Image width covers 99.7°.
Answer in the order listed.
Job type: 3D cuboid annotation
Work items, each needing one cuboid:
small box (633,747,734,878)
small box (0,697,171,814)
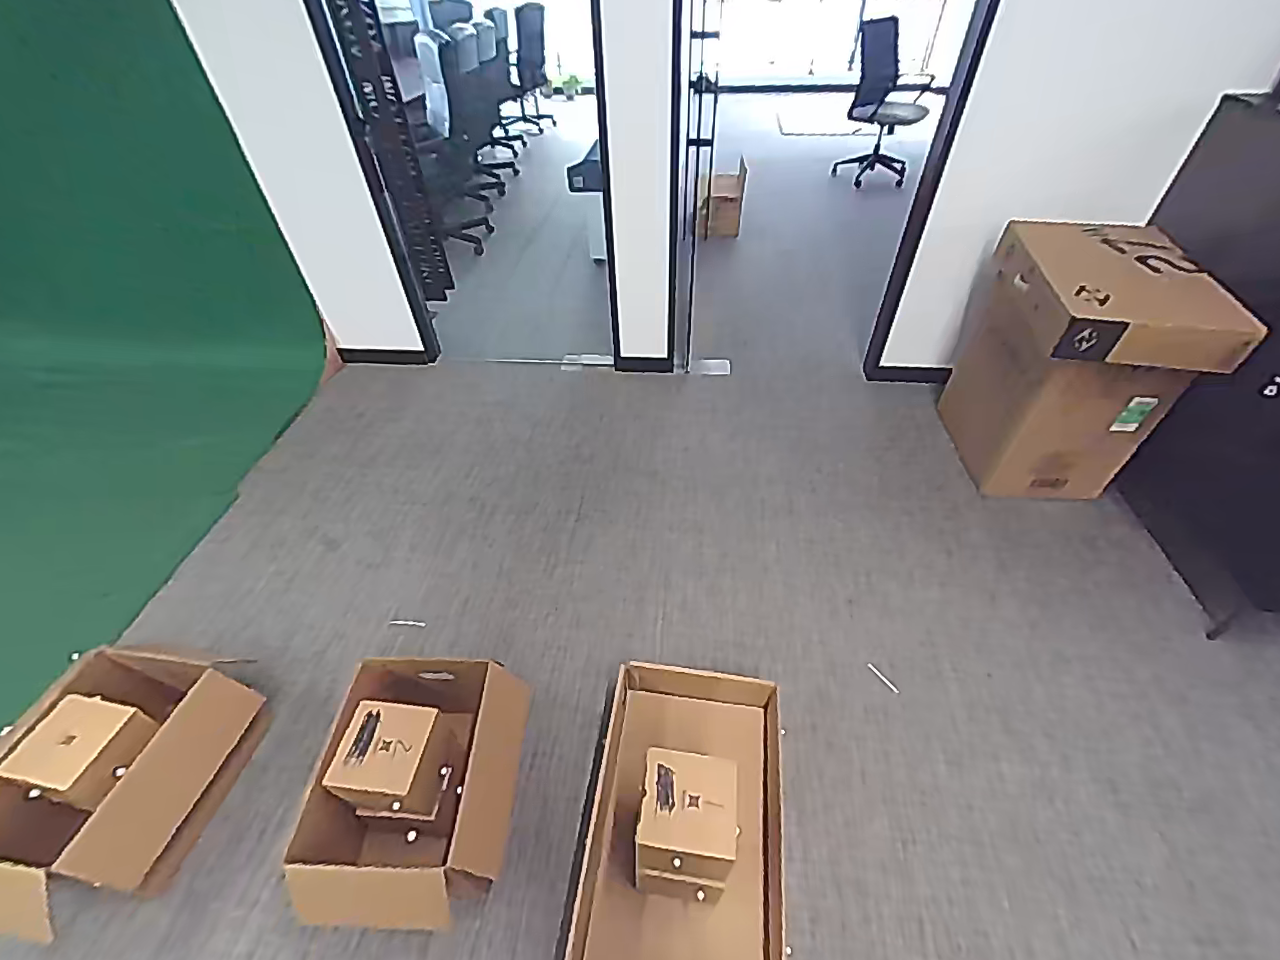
[{"bbox_3d":[0.083,0.644,1.044,0.179,0.176,0.168,6,43,5],"label":"small box"},{"bbox_3d":[-1.180,0.593,1.158,0.179,0.176,0.168,7,44,7],"label":"small box"}]
